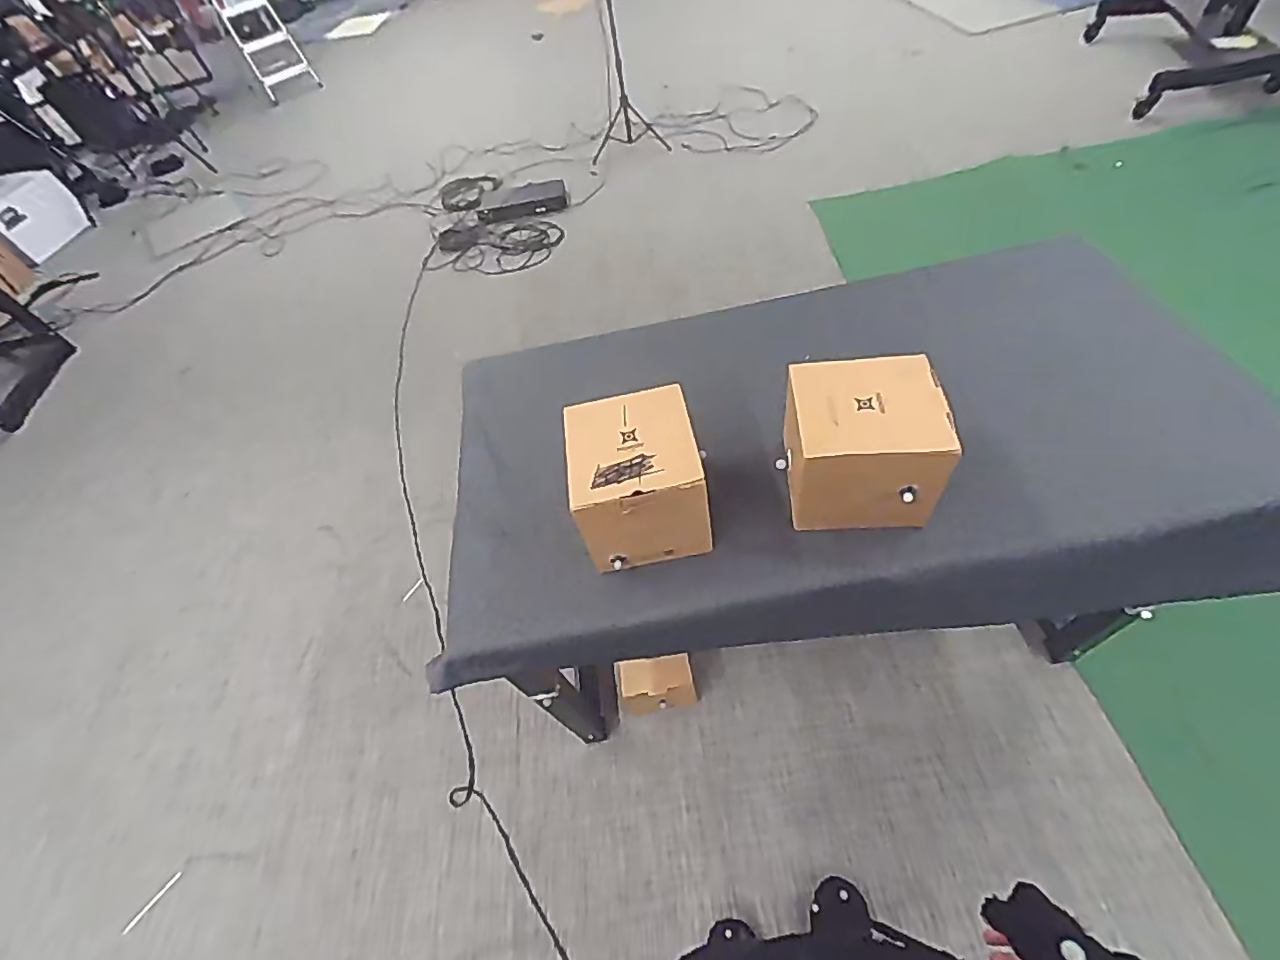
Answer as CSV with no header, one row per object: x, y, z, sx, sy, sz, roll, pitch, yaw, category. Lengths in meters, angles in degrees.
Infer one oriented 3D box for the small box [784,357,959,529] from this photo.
0.297,-0.044,0.737,0.179,0.176,0.168,-3,53,10,small box

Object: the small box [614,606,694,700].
0.037,0.437,1.343,0.168,0.176,0.179,-11,54,3,small box

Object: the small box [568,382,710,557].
0.001,-0.006,0.758,0.168,0.176,0.179,-10,52,2,small box
